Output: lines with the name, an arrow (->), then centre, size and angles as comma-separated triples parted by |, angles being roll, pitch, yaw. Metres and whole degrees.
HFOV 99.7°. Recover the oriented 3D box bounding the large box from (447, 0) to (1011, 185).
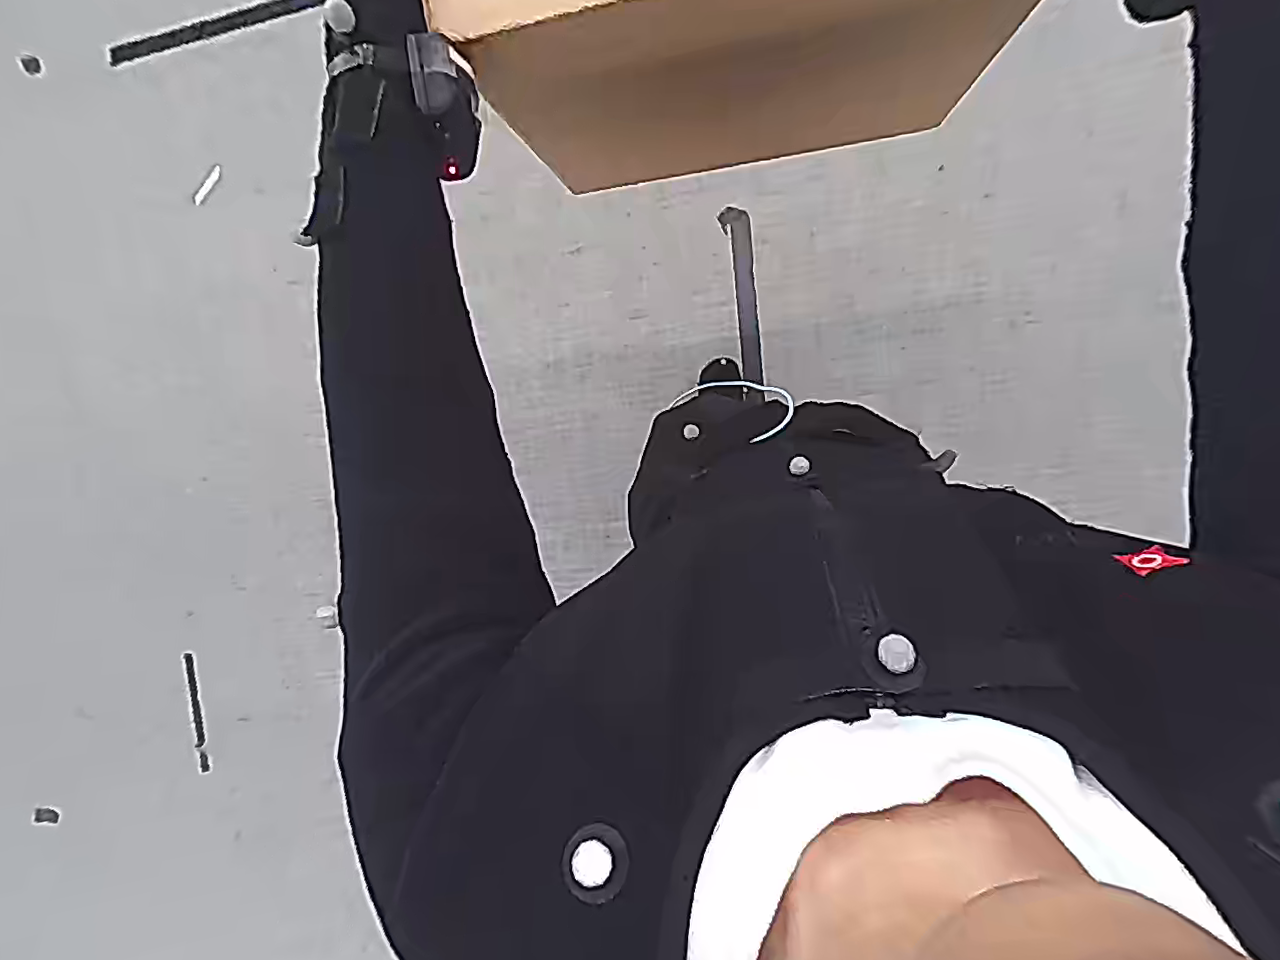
large box -> 0.071, -0.488, 0.438 | 0.408, 0.320, 0.320 | -5, 101, 10
